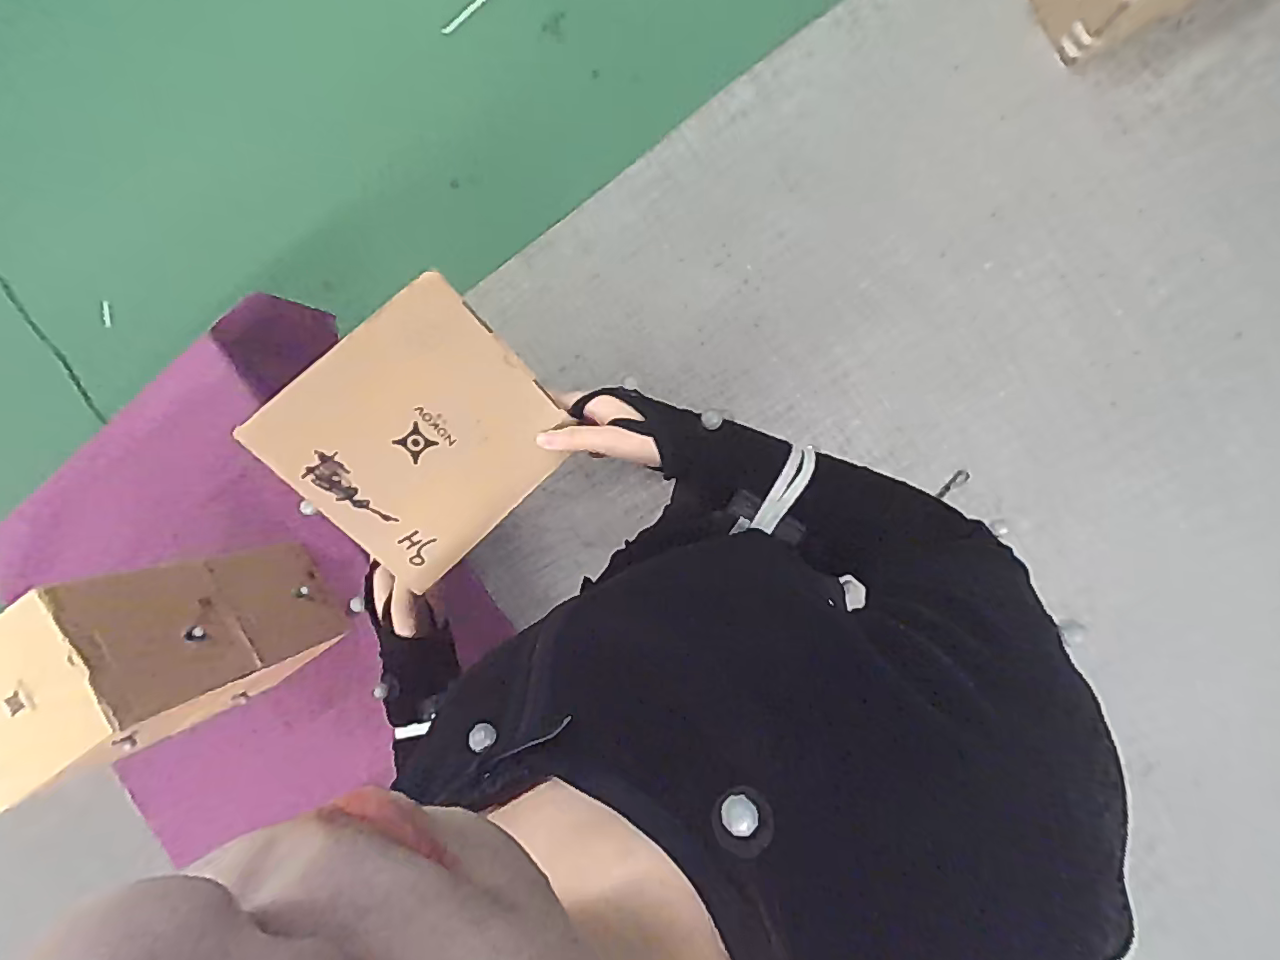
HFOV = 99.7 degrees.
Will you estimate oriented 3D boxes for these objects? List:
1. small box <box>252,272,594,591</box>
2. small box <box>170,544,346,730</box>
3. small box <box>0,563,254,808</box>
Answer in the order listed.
[{"bbox_3d":[-0.171,-0.041,0.465,0.179,0.176,0.168,-43,106,-9],"label":"small box"},{"bbox_3d":[-0.574,0.212,0.775,0.179,0.176,0.168,-34,87,8],"label":"small box"},{"bbox_3d":[-0.600,0.216,0.614,0.179,0.176,0.168,-34,87,8],"label":"small box"}]
